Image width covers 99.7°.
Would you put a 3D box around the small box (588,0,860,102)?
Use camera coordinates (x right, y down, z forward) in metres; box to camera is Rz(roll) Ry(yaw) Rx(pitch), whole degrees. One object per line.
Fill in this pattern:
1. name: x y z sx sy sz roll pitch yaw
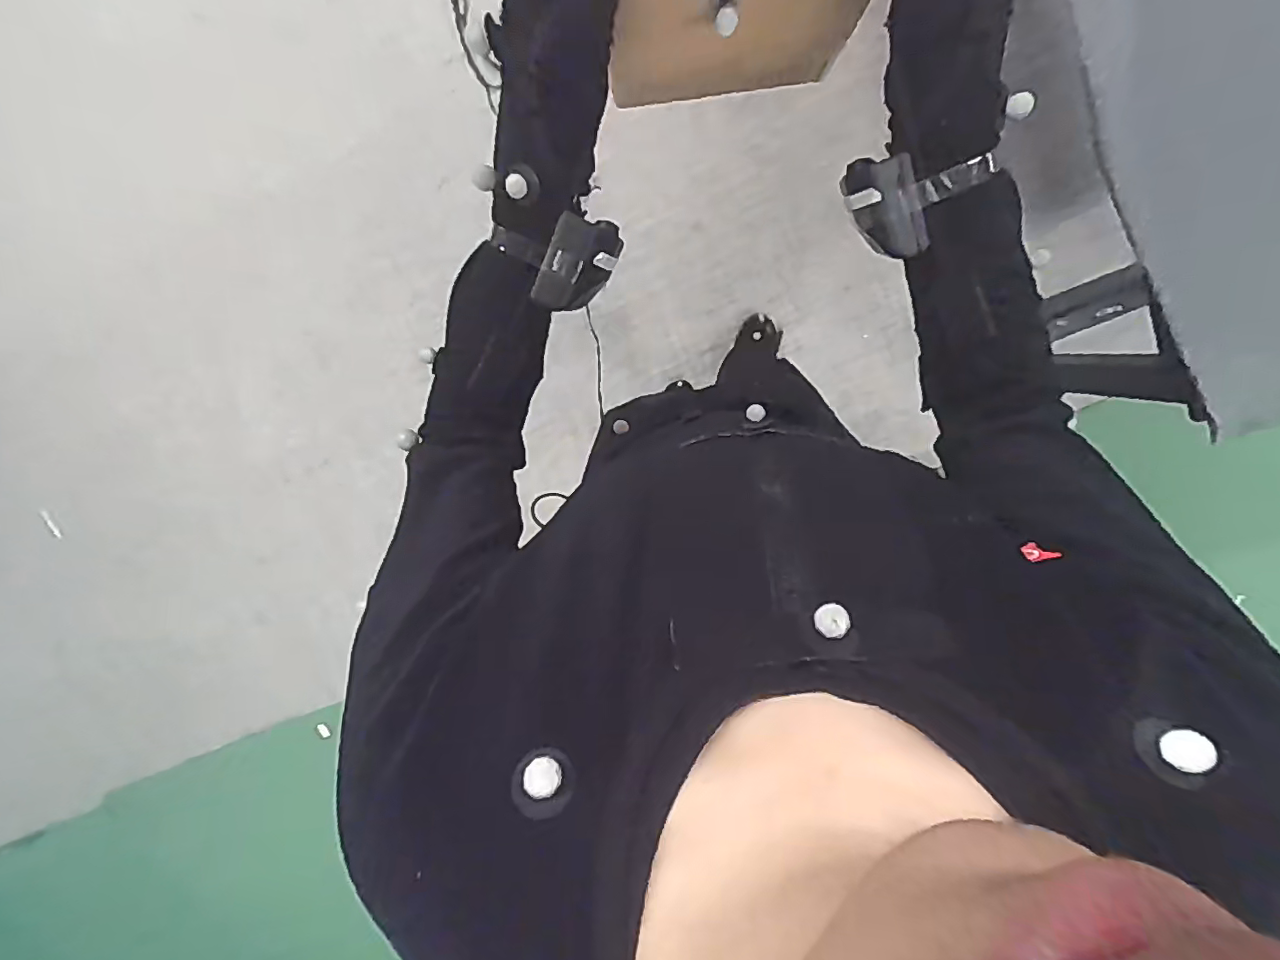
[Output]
1. small box: 0.052 -0.377 0.347 0.179 0.176 0.168 -4 102 5
